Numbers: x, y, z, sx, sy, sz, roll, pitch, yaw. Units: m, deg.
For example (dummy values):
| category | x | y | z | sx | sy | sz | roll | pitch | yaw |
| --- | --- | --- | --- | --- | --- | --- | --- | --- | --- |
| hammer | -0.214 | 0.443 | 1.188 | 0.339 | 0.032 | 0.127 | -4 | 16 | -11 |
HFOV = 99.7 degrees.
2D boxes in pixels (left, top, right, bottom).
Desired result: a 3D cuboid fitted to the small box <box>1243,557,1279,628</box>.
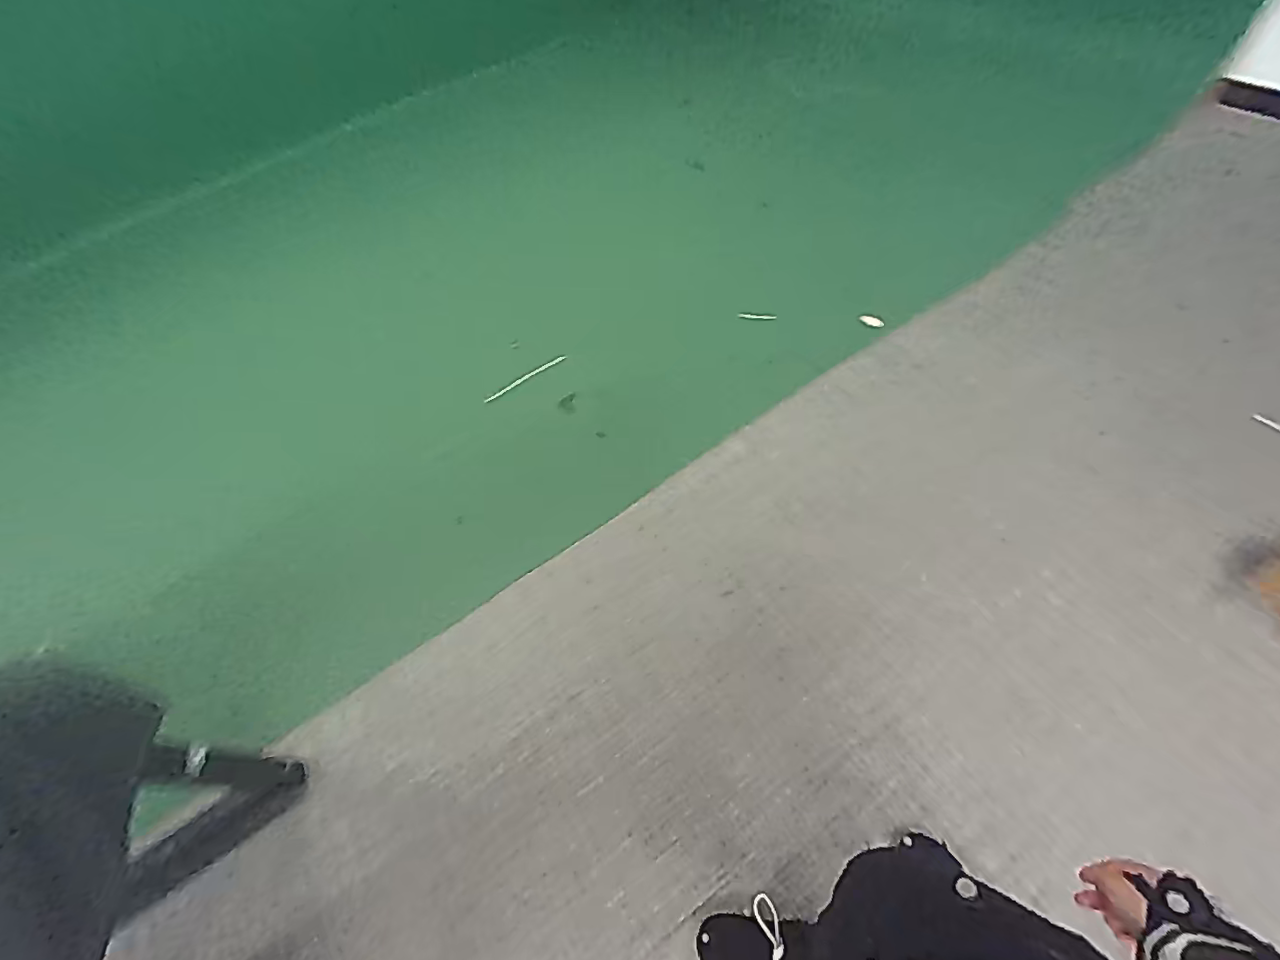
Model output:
| category | x | y | z | sx | sy | sz | roll | pitch | yaw |
| --- | --- | --- | --- | --- | --- | --- | --- | --- | --- |
| small box | 1.423 | 0.219 | 1.096 | 0.179 | 0.176 | 0.168 | -13 | 57 | 2 |
